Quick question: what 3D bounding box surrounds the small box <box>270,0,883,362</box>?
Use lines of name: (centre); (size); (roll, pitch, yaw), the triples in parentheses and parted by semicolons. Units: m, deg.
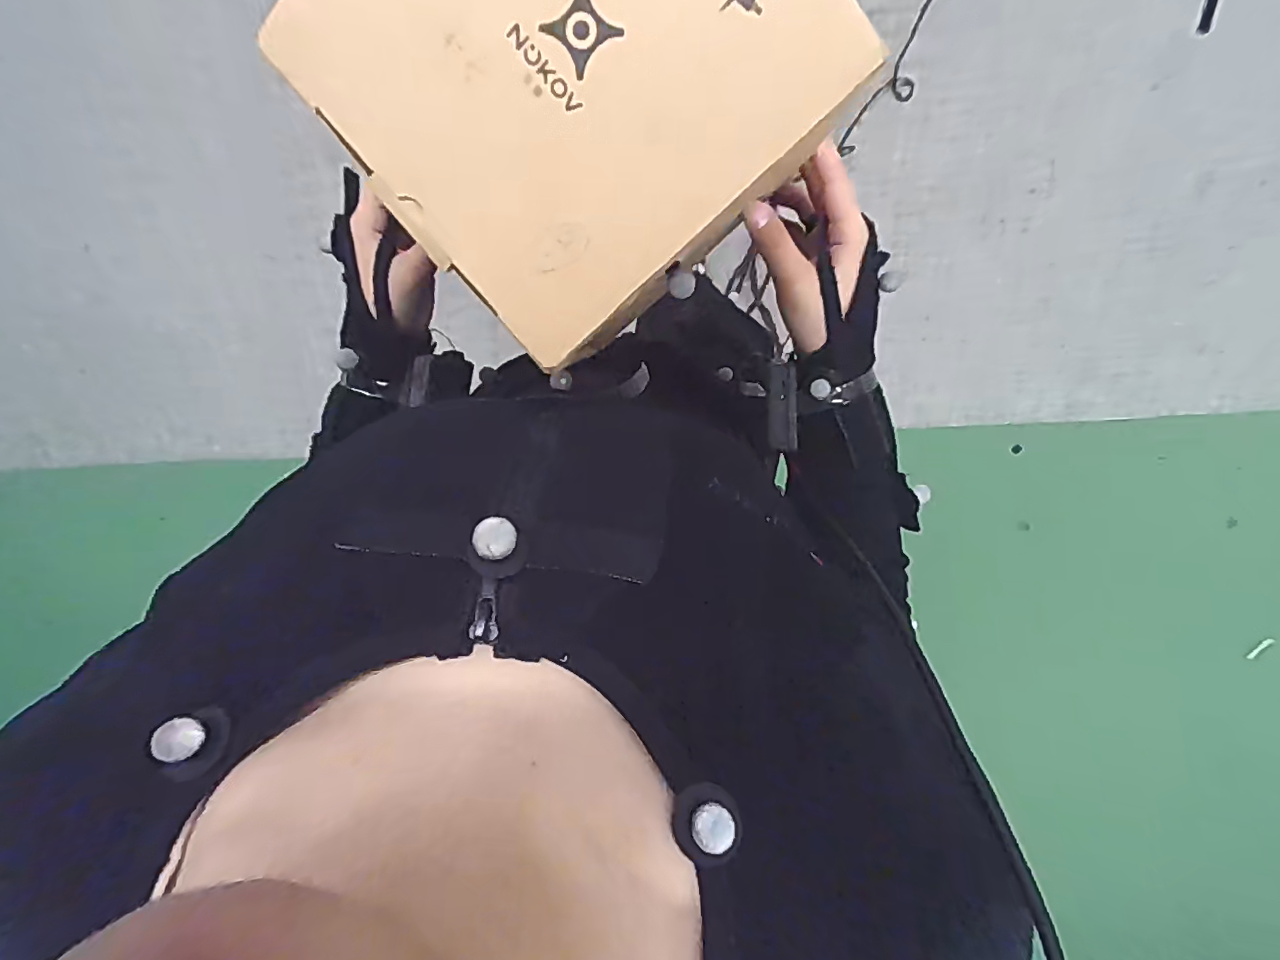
small box: (-0.021, -0.182, 0.276); (0.179, 0.176, 0.168); (-38, 100, 13)
